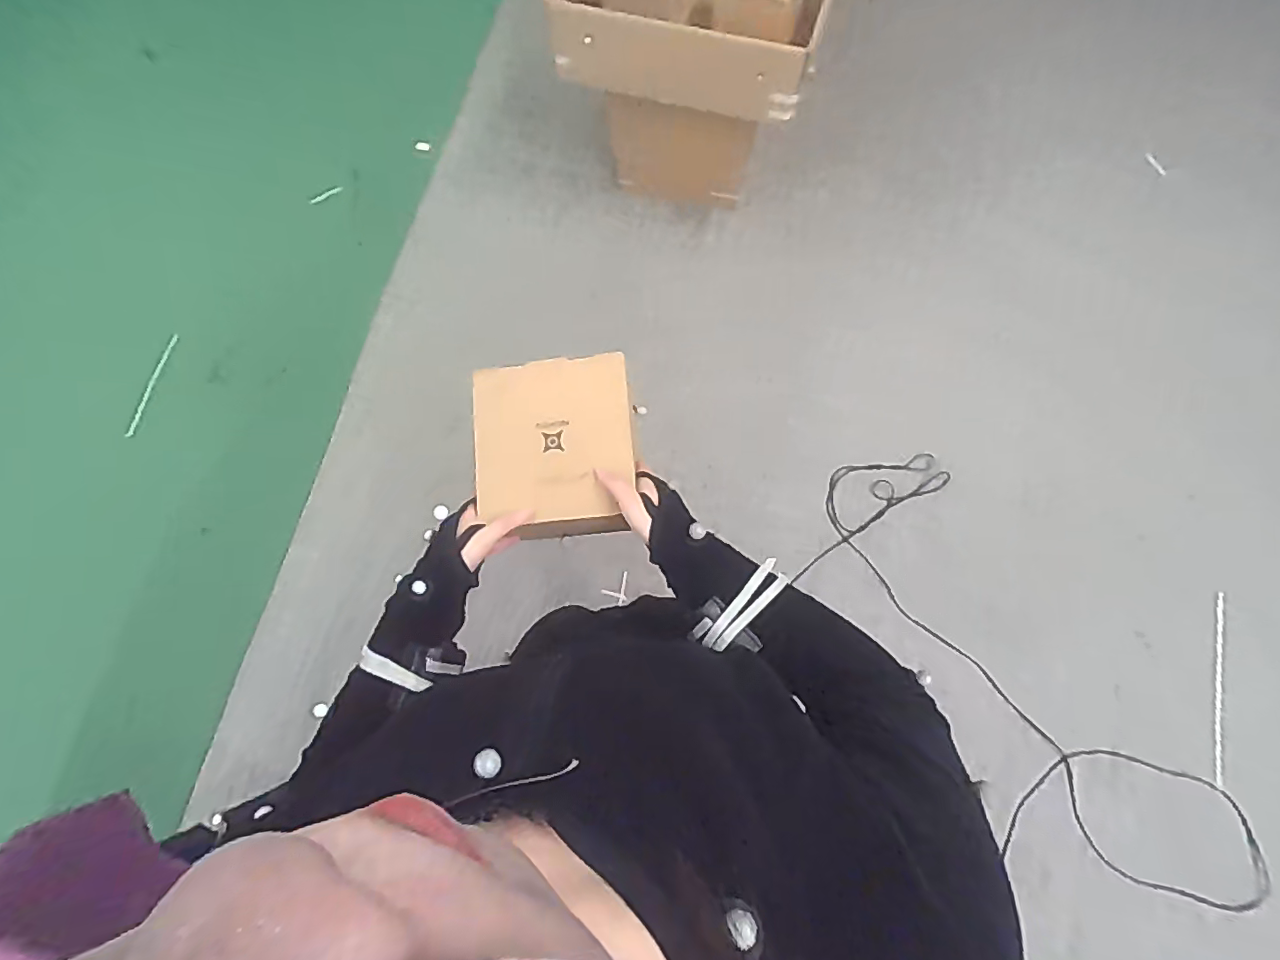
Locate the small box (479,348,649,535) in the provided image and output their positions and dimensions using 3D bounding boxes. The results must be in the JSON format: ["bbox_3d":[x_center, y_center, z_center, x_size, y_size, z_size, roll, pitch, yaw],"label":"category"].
[{"bbox_3d":[-0.080,-0.034,0.637,0.168,0.176,0.179,-5,79,4],"label":"small box"}]

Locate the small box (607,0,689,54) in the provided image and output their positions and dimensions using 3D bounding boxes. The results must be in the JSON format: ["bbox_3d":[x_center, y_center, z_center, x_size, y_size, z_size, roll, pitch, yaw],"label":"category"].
[{"bbox_3d":[0.021,-1.158,1.264,0.168,0.176,0.179,16,80,8],"label":"small box"}]
